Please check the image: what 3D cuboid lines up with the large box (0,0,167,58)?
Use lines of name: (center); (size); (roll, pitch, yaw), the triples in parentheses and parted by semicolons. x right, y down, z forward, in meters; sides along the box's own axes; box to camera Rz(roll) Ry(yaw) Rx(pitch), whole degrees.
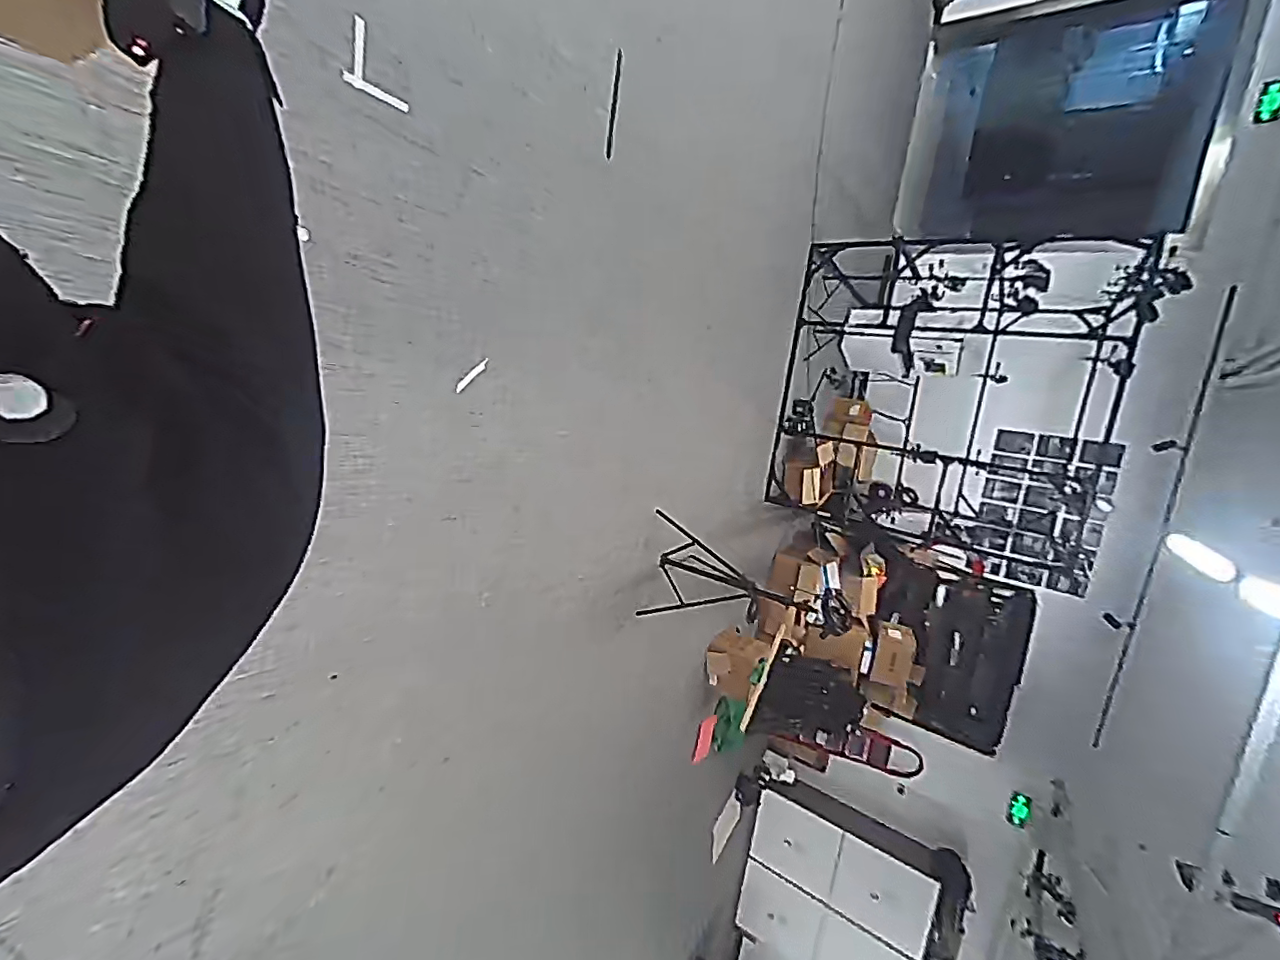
large box: (-0.562, -0.530, 0.298); (0.408, 0.320, 0.320); (-4, 112, -55)
